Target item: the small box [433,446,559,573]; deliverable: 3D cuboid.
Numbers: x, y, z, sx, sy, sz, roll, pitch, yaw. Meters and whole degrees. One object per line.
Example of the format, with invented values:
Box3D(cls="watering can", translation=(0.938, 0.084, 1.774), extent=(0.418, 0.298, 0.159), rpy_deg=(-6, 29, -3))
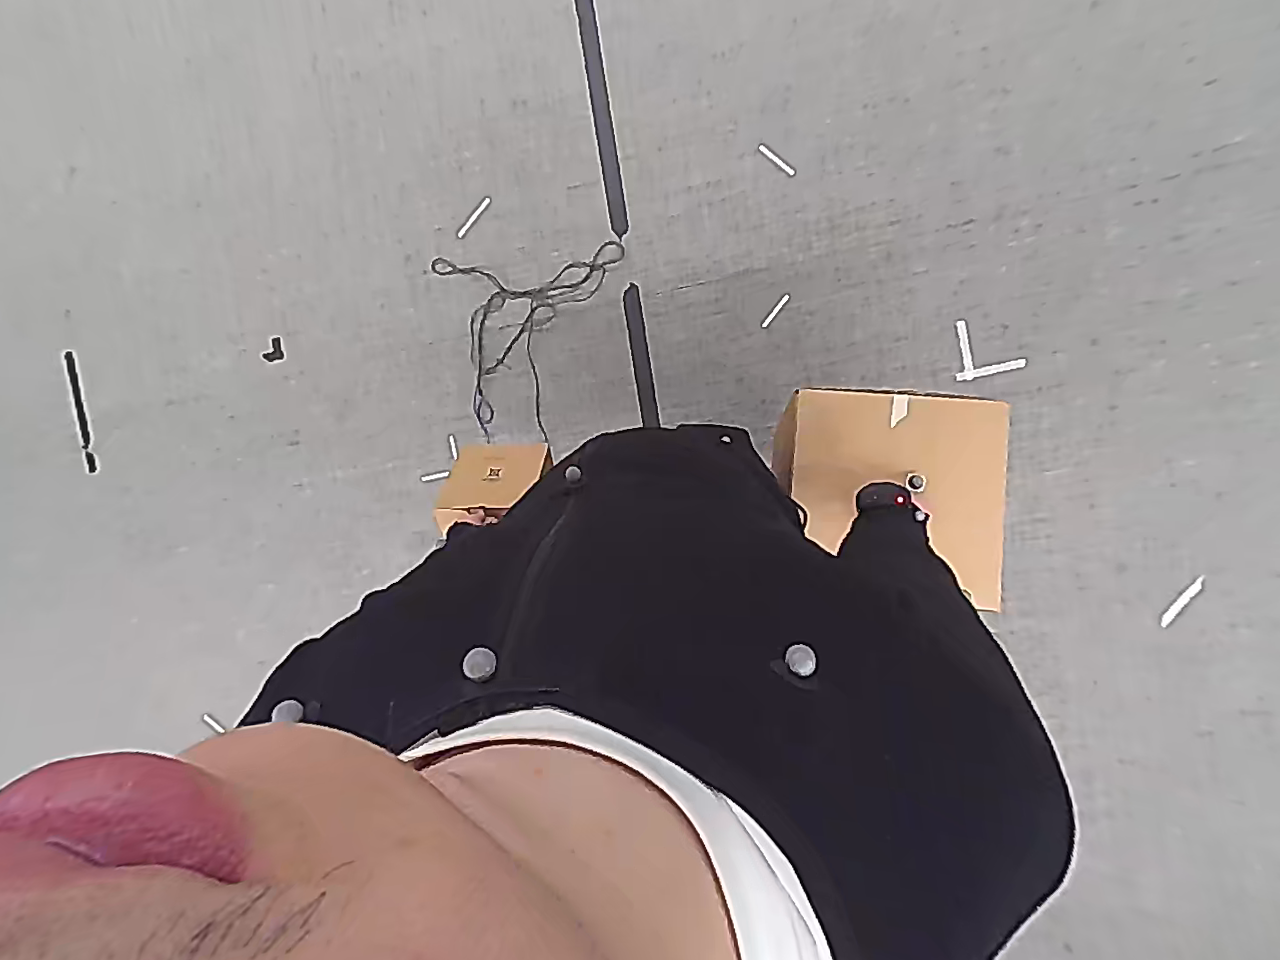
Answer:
Box3D(cls="small box", translation=(-0.250, 0.057, 0.993), extent=(0.168, 0.179, 0.176), rpy_deg=(0, 131, 3))
